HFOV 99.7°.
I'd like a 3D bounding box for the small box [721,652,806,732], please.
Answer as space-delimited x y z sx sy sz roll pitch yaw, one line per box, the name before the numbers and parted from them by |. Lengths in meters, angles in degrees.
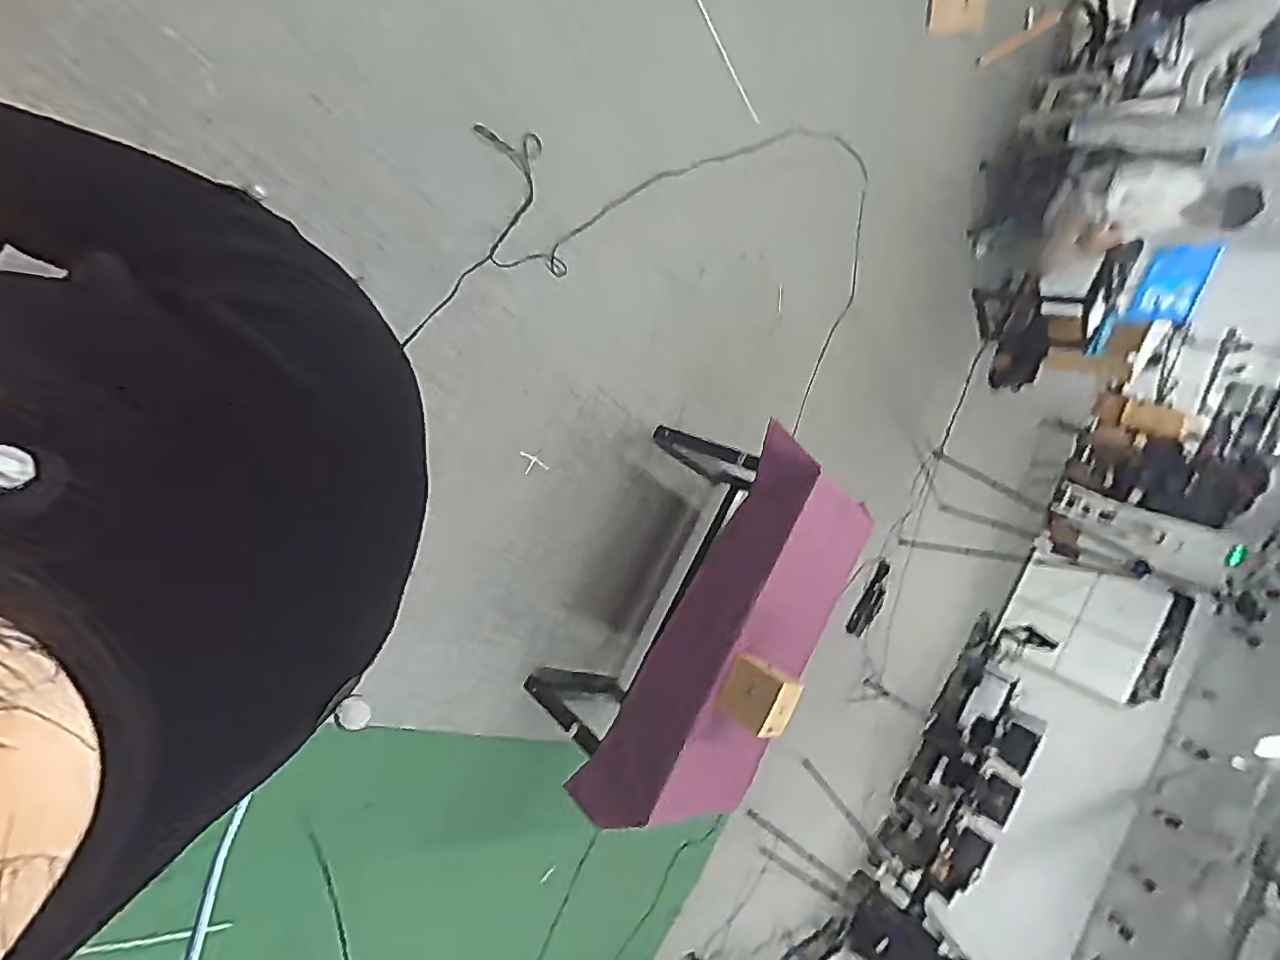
small box | 0.379 0.654 1.676 0.168 0.176 0.179 29 86 -47
